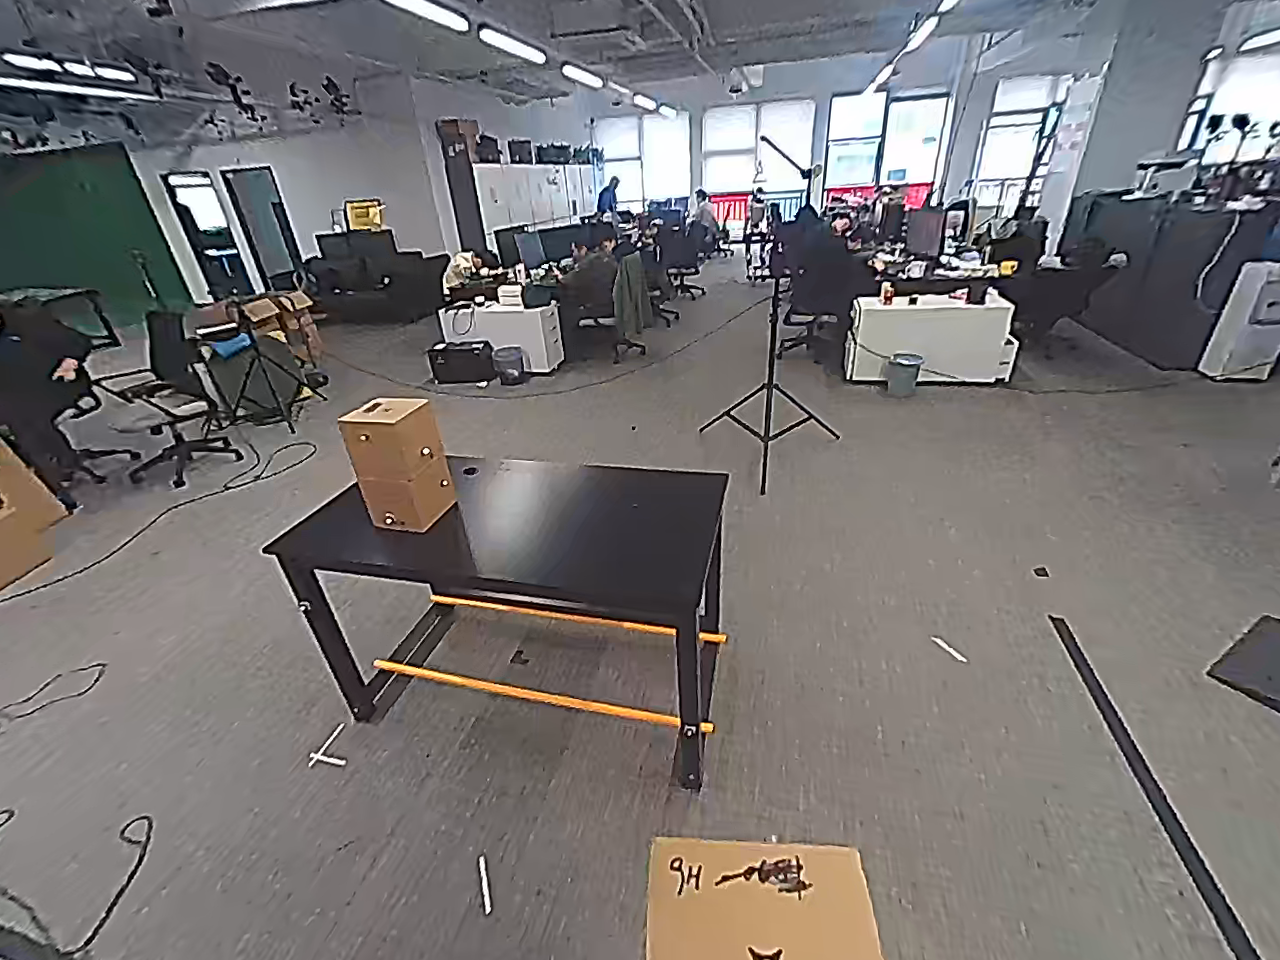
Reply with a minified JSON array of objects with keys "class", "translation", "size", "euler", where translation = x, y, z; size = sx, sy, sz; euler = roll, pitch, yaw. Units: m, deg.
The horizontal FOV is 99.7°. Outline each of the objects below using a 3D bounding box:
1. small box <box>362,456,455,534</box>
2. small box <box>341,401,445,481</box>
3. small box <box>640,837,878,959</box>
[{"class":"small box","translation":[-0.656,0.035,1.559],"size":[0.168,0.176,0.179],"euler":[3,30,15]},{"class":"small box","translation":[-0.667,-0.108,1.478],"size":[0.179,0.176,0.168],"euler":[3,30,14]},{"class":"small box","translation":[0.085,0.405,0.410],"size":[0.168,0.176,0.179],"euler":[0,36,4]}]
